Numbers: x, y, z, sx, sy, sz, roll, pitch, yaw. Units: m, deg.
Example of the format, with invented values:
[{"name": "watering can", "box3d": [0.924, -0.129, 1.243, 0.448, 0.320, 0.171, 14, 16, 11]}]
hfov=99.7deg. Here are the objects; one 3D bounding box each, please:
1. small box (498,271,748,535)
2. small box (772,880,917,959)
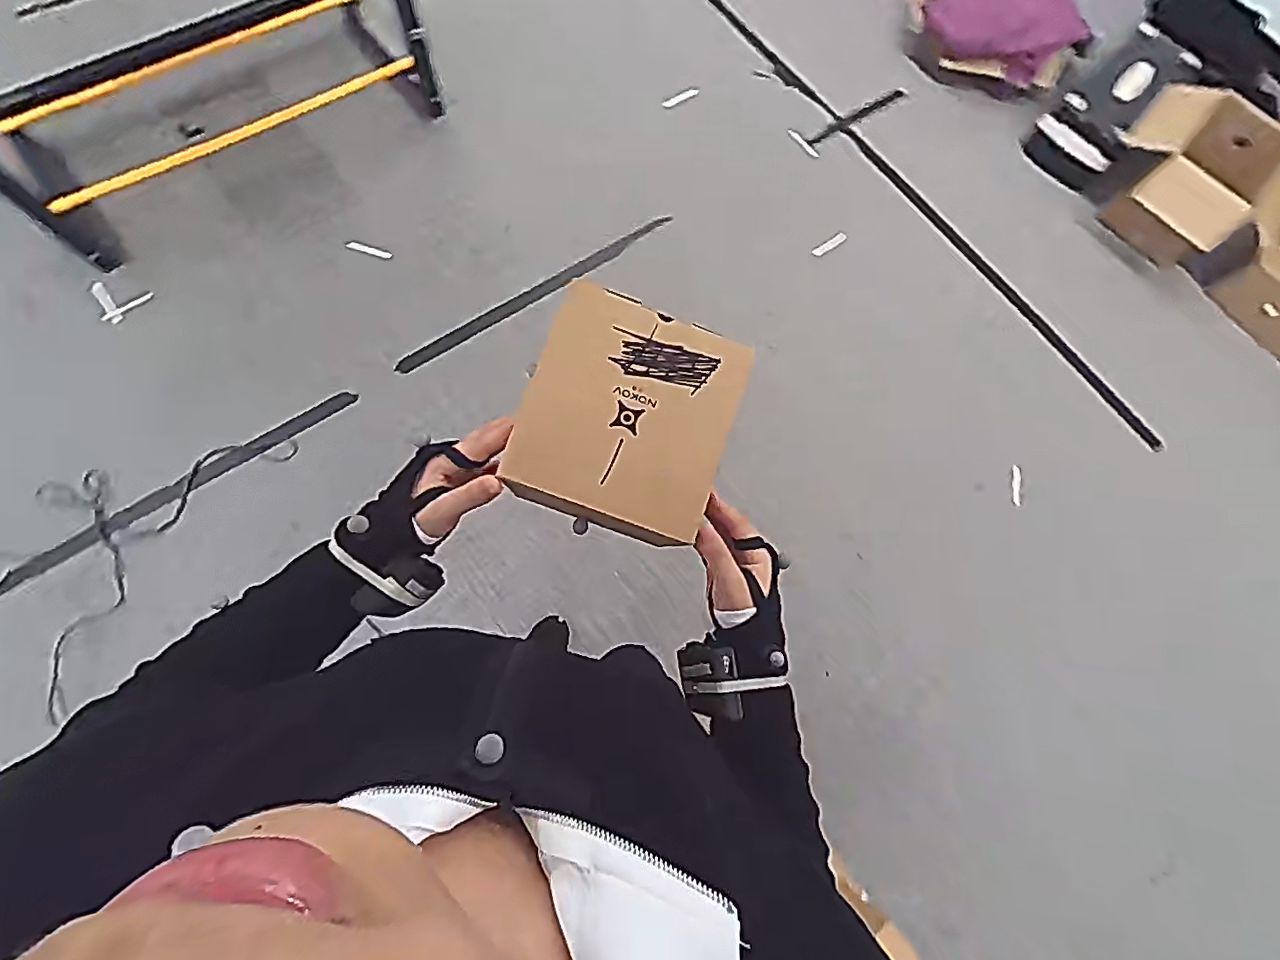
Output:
[{"name": "small box", "box3d": [-0.020, -0.055, 0.515, 0.168, 0.176, 0.179, 19, 80, -4]}, {"name": "small box", "box3d": [0.335, 0.770, 0.825, 0.168, 0.176, 0.179, -34, 78, -16]}]
